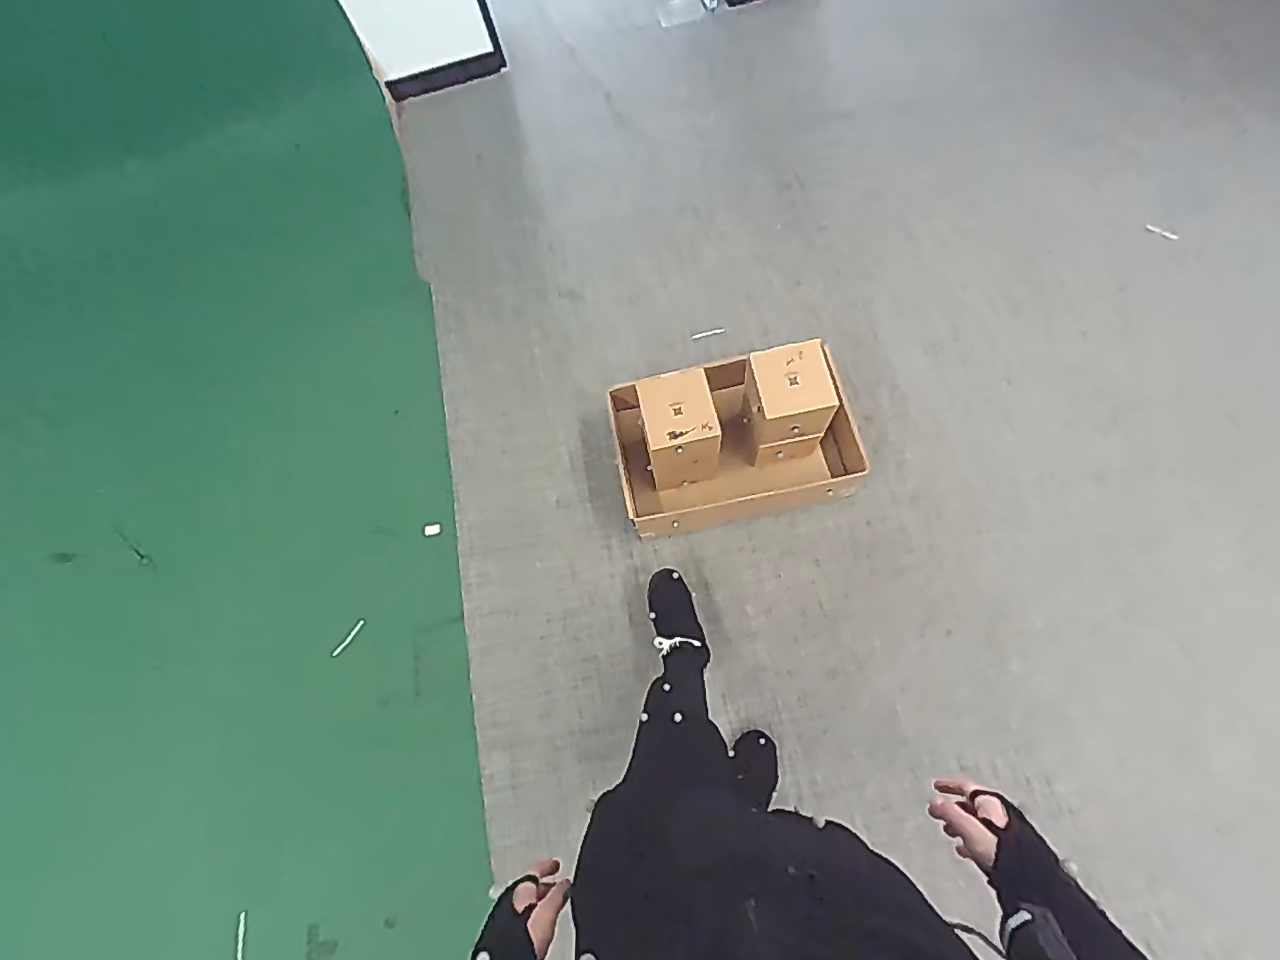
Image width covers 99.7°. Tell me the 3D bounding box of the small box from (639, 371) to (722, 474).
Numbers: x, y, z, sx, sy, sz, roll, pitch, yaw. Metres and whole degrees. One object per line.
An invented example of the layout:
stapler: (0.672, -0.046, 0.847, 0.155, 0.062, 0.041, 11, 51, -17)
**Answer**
small box: (0.097, -0.135, 1.311, 0.168, 0.176, 0.179, -13, 71, 2)

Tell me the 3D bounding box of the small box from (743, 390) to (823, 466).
small box: (0.379, -0.147, 1.460, 0.168, 0.176, 0.179, -11, 71, 4)

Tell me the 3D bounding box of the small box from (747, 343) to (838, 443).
small box: (0.360, -0.200, 1.305, 0.168, 0.176, 0.179, -11, 71, 4)
